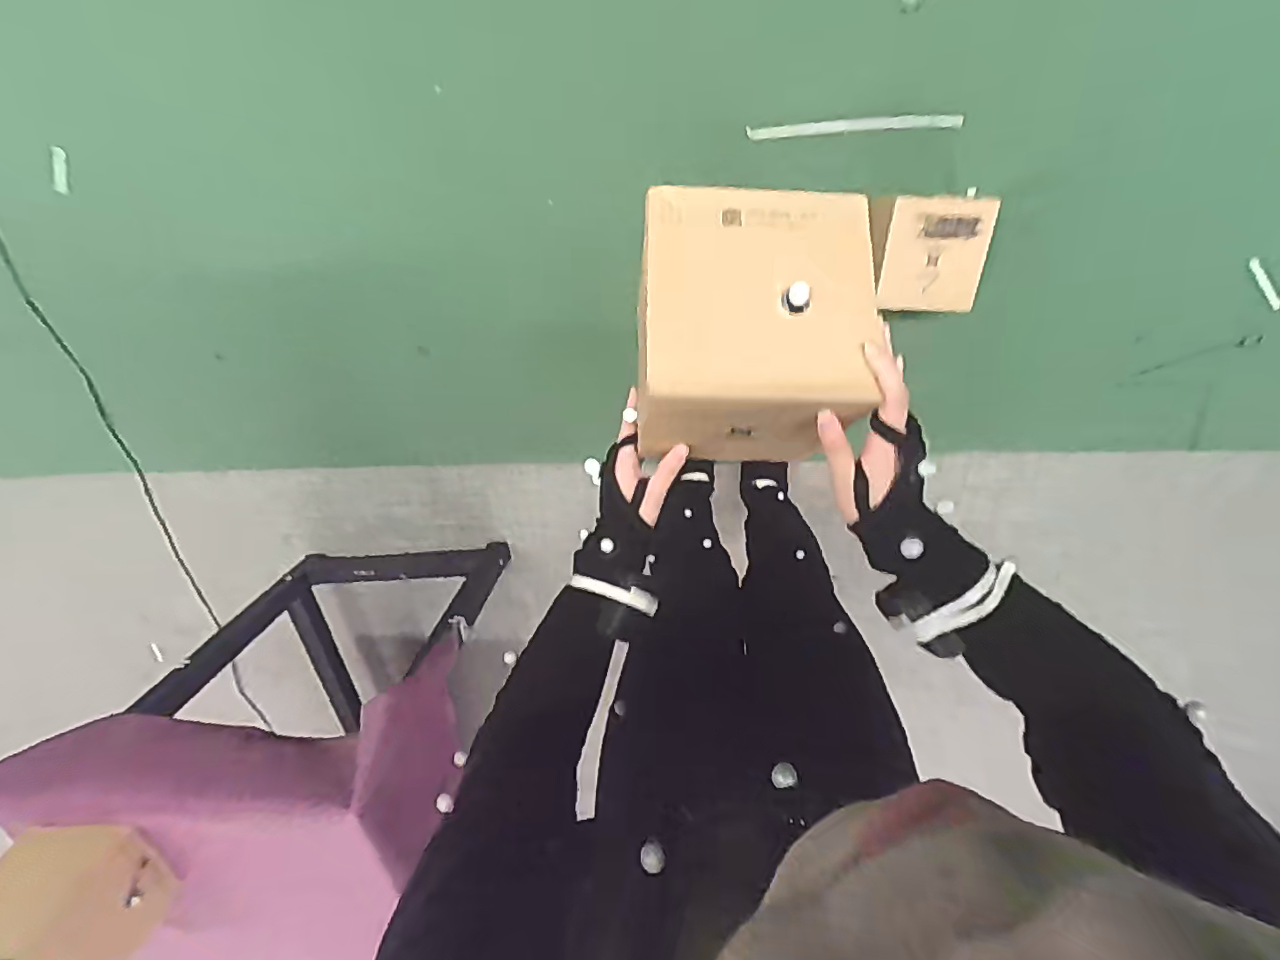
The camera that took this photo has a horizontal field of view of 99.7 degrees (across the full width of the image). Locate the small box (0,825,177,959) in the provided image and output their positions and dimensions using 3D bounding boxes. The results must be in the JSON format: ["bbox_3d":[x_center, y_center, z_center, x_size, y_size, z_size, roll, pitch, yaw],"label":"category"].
[{"bbox_3d":[-0.833,0.622,0.770,0.179,0.176,0.168,-3,115,3],"label":"small box"}]
